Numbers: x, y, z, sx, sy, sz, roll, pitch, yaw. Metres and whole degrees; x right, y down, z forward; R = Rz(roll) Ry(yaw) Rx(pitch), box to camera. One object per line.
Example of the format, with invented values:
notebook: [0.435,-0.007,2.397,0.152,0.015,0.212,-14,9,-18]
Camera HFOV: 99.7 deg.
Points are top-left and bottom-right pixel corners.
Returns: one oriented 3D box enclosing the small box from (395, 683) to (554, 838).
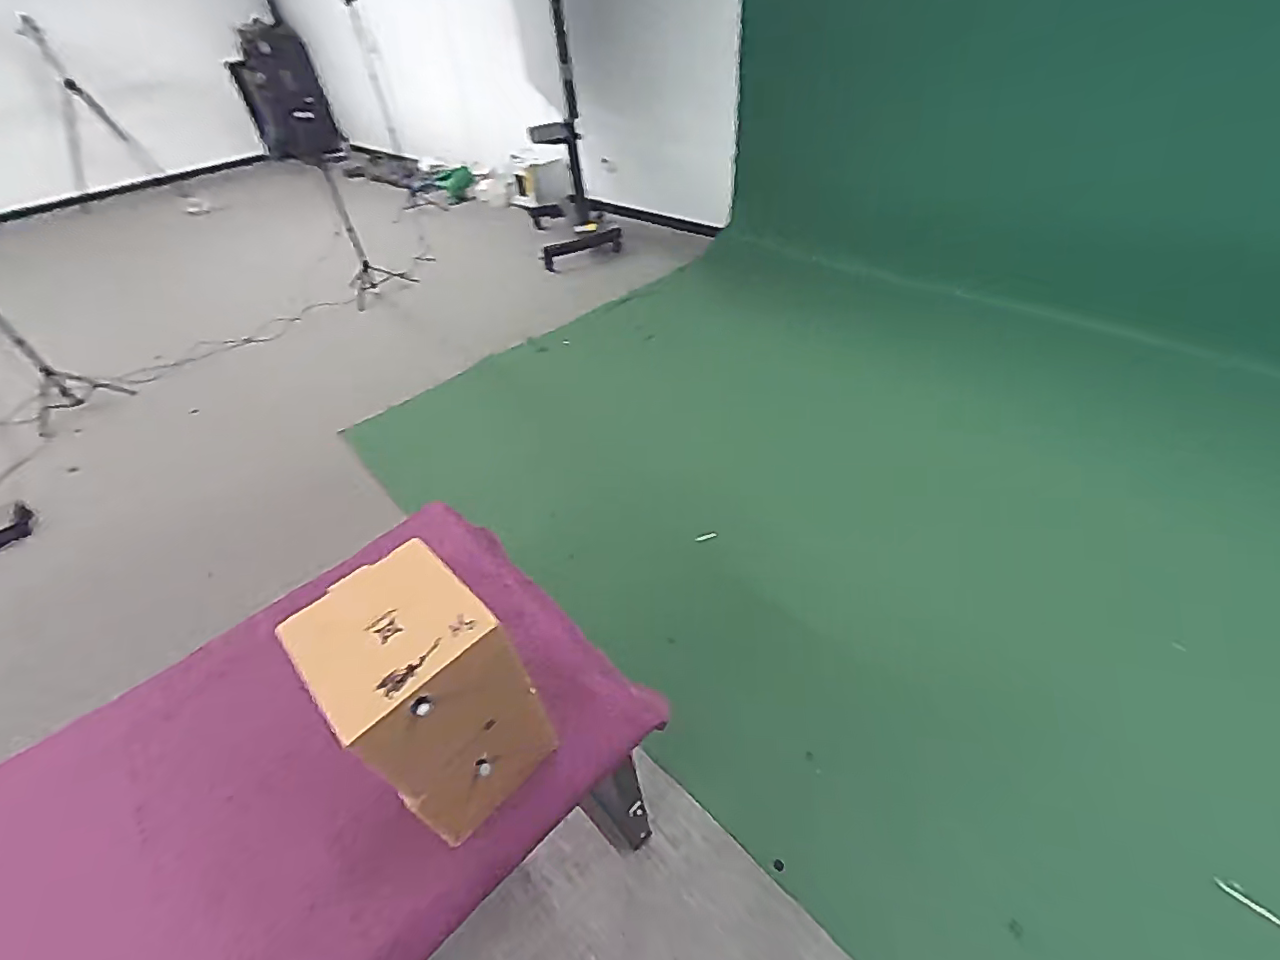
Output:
small box: [-0.233,0.332,0.726,0.168,0.176,0.179,31,57,33]

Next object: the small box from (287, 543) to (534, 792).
small box: [-0.249,0.212,0.615,0.179,0.176,0.168,31,57,34]
